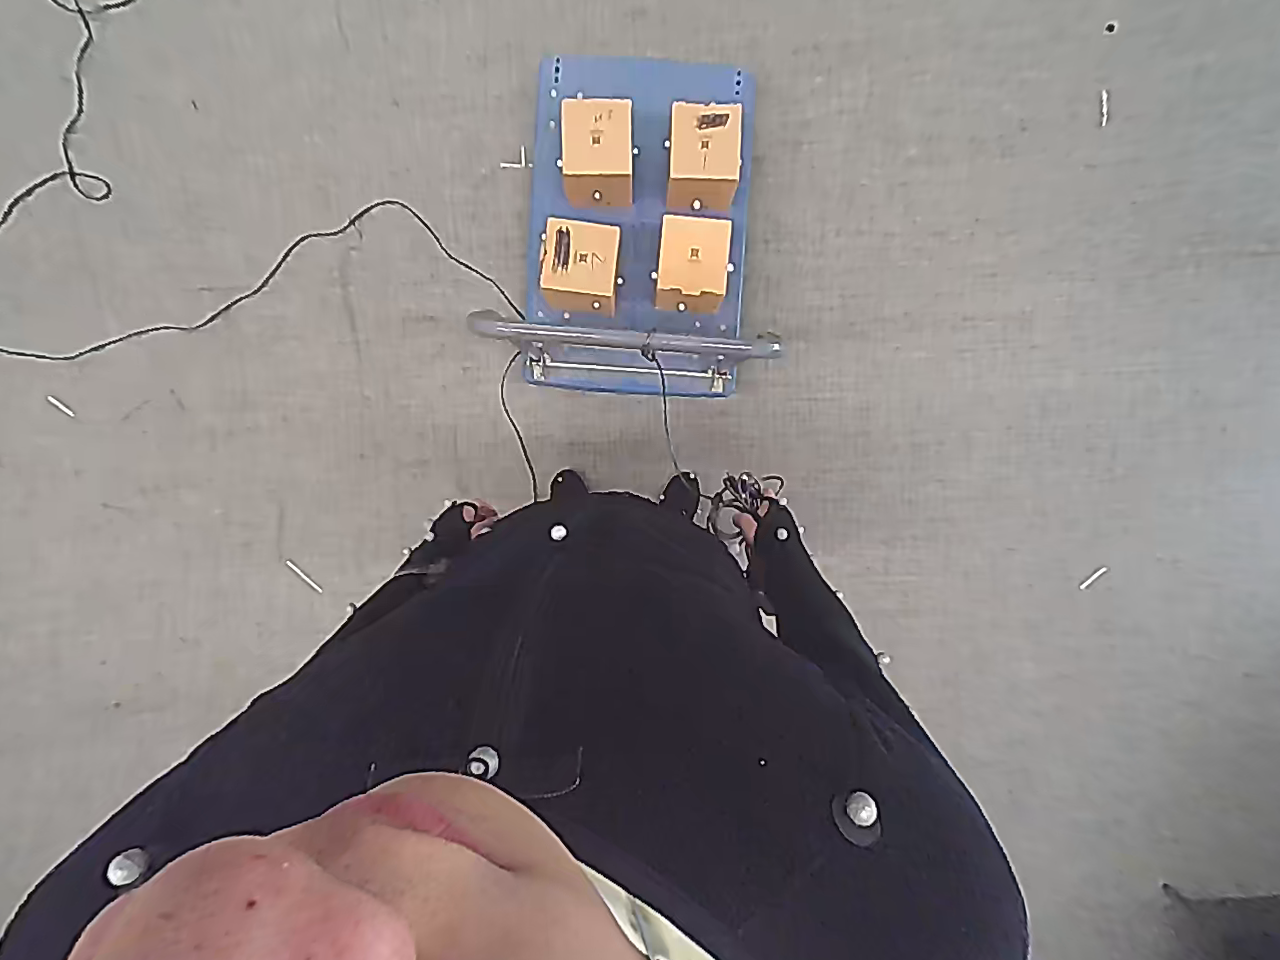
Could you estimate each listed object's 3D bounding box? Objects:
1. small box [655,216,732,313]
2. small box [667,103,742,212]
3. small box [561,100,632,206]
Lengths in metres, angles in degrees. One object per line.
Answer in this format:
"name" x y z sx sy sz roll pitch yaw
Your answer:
"small box" 0.128 -0.535 1.359 0.168 0.176 0.179 5 93 -1
"small box" 0.155 -0.796 1.346 0.168 0.176 0.179 2 93 0
"small box" -0.103 -0.804 1.345 0.168 0.176 0.179 0 92 -1
